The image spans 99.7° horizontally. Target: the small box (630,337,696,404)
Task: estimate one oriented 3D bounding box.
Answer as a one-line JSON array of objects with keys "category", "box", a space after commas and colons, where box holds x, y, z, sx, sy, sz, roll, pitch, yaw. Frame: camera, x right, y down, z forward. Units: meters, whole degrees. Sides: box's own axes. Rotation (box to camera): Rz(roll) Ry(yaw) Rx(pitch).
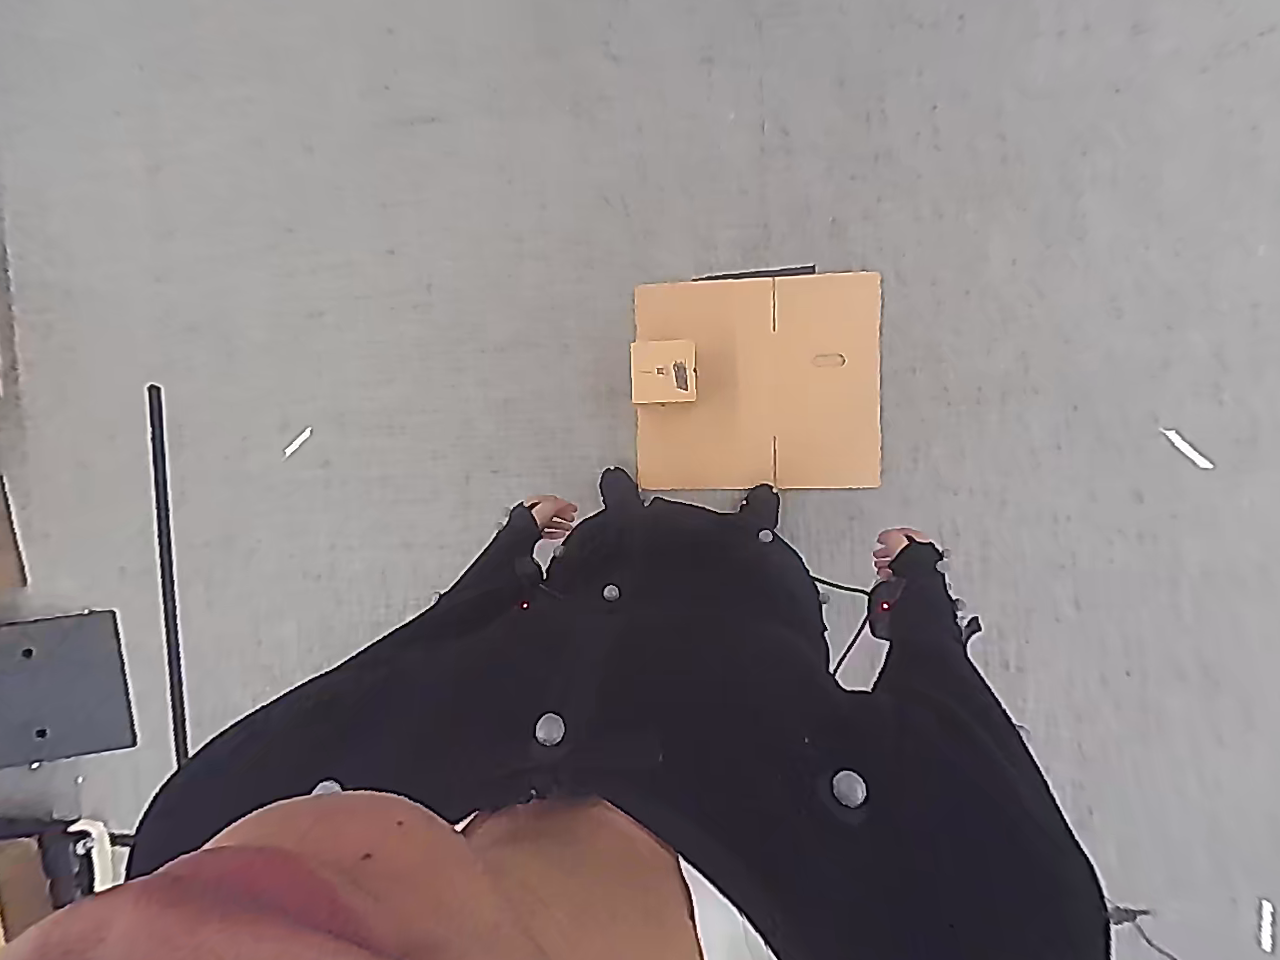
[{"category": "small box", "box": [0.069, -0.303, 1.519, 0.179, 0.176, 0.168, -1, 93, 8]}]
